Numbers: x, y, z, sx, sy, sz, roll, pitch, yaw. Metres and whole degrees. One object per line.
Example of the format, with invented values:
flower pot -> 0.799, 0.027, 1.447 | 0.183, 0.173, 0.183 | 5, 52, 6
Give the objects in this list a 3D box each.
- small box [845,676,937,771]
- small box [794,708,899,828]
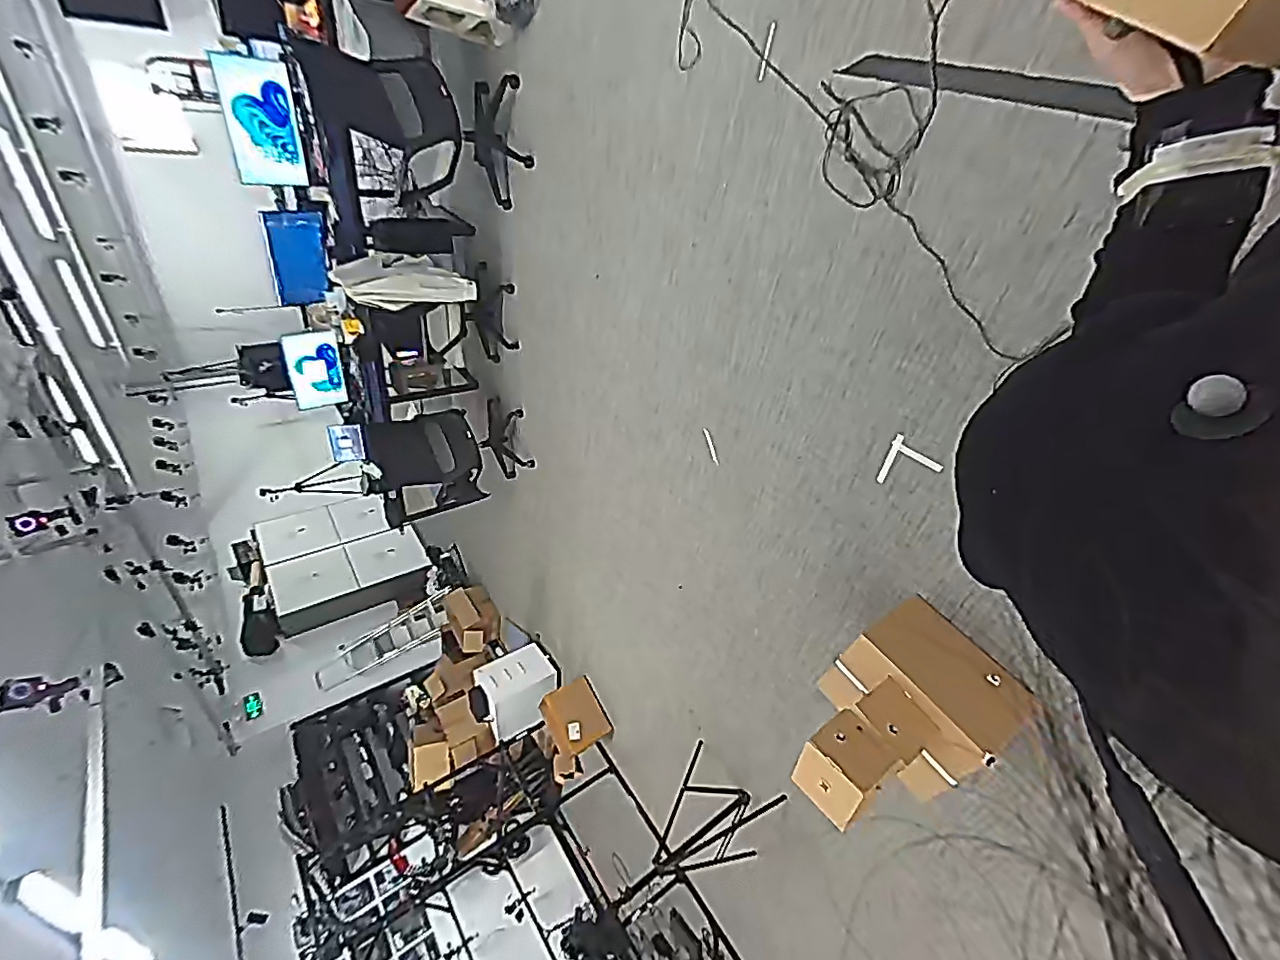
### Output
small box -> 0.653, 0.664, 1.454 | 0.179, 0.176, 0.168 | 51, 141, 30
small box -> 0.524, 0.722, 1.372 | 0.168, 0.176, 0.179 | 38, 135, 42
